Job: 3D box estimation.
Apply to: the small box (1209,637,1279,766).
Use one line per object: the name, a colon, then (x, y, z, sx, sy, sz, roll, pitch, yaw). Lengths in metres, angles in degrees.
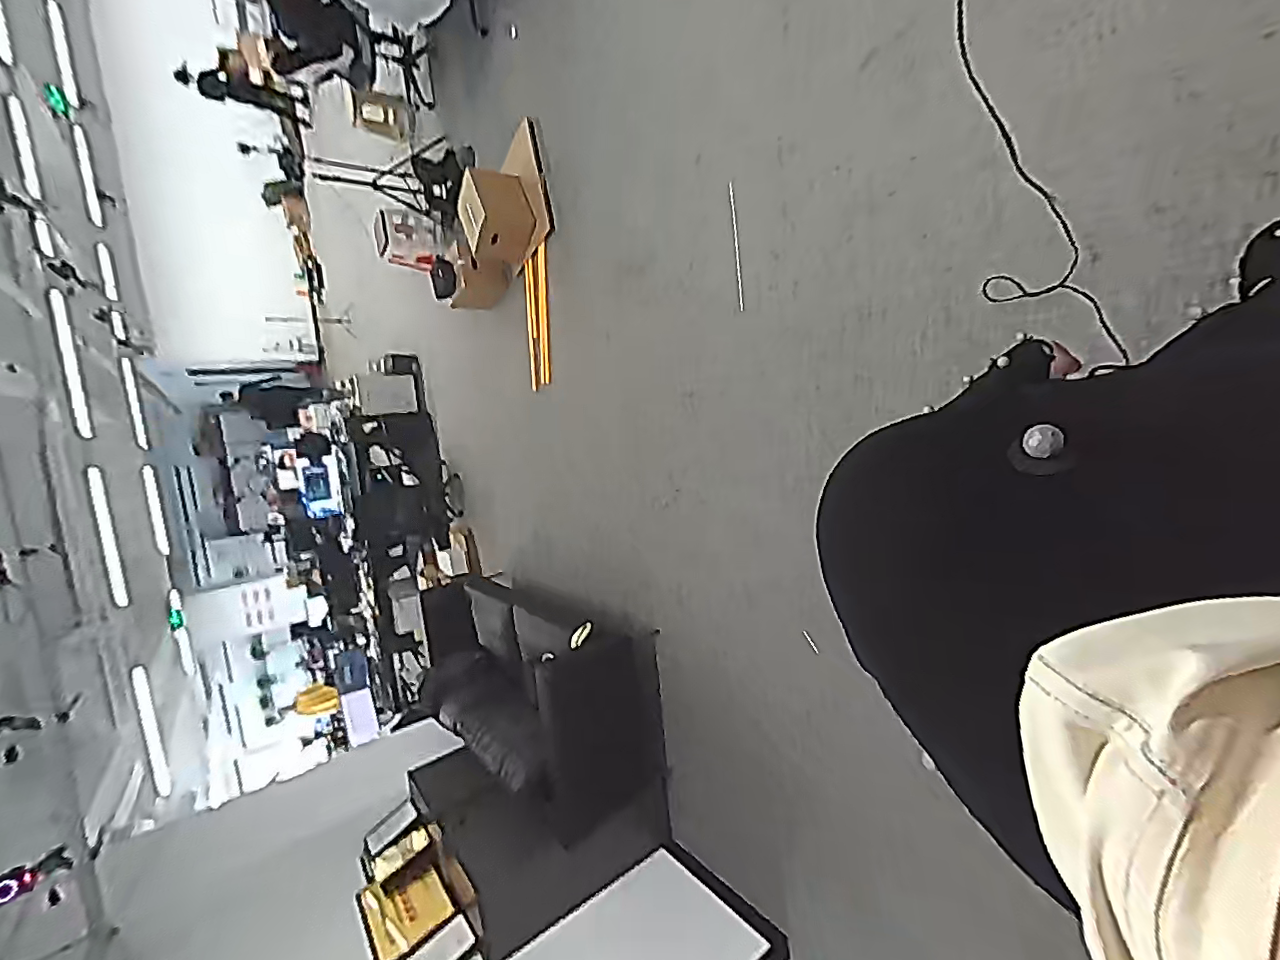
small box: (1.233, 0.430, 1.038, 0.168, 0.176, 0.179, 9, 105, 51)
